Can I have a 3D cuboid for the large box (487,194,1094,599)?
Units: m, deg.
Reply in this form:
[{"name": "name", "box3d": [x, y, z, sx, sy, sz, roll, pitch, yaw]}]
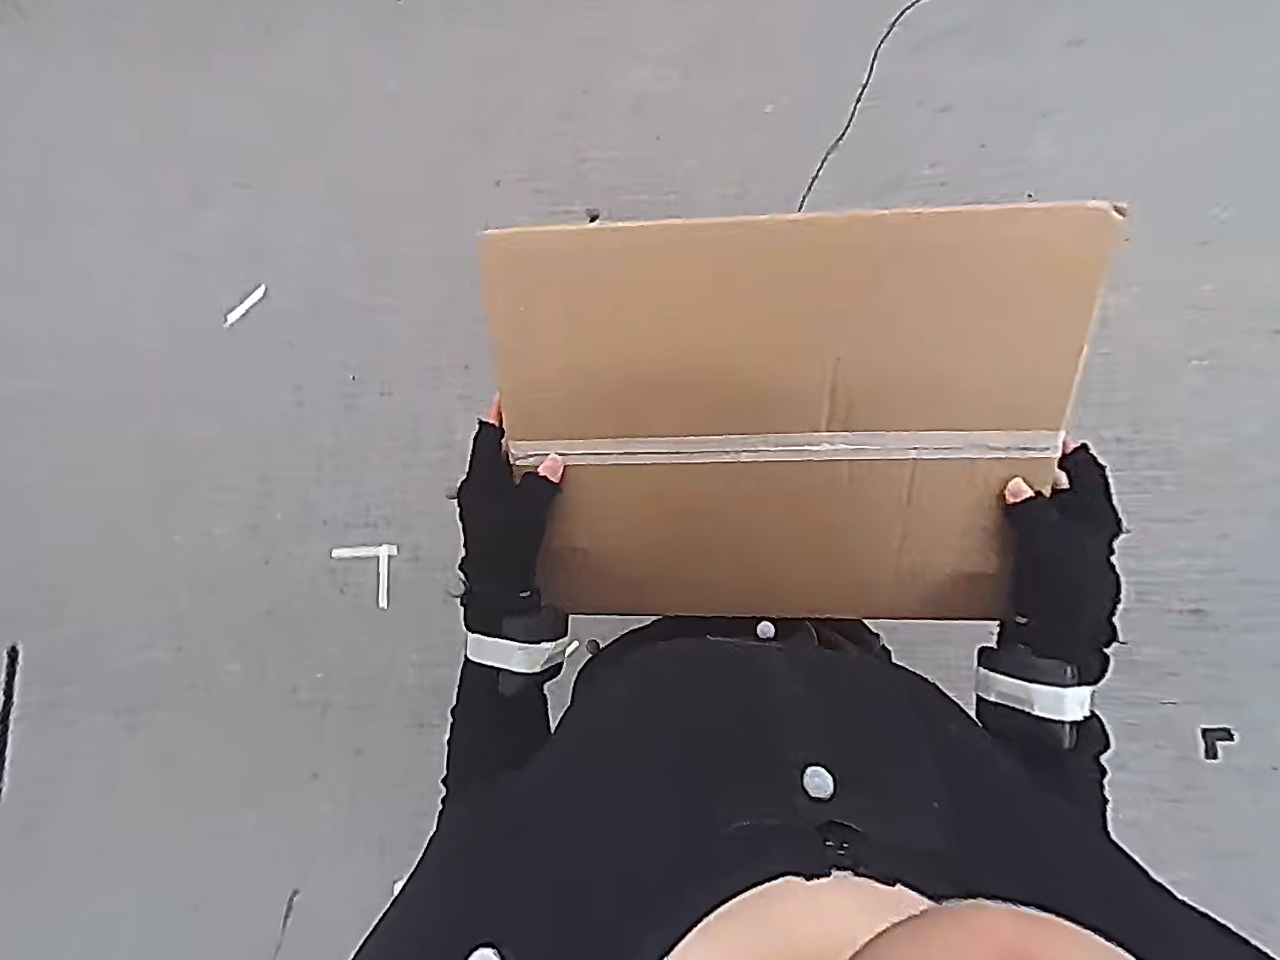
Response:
[{"name": "large box", "box3d": [0.107, -0.095, 0.552, 0.408, 0.320, 0.320, -1, 115, 5]}]
